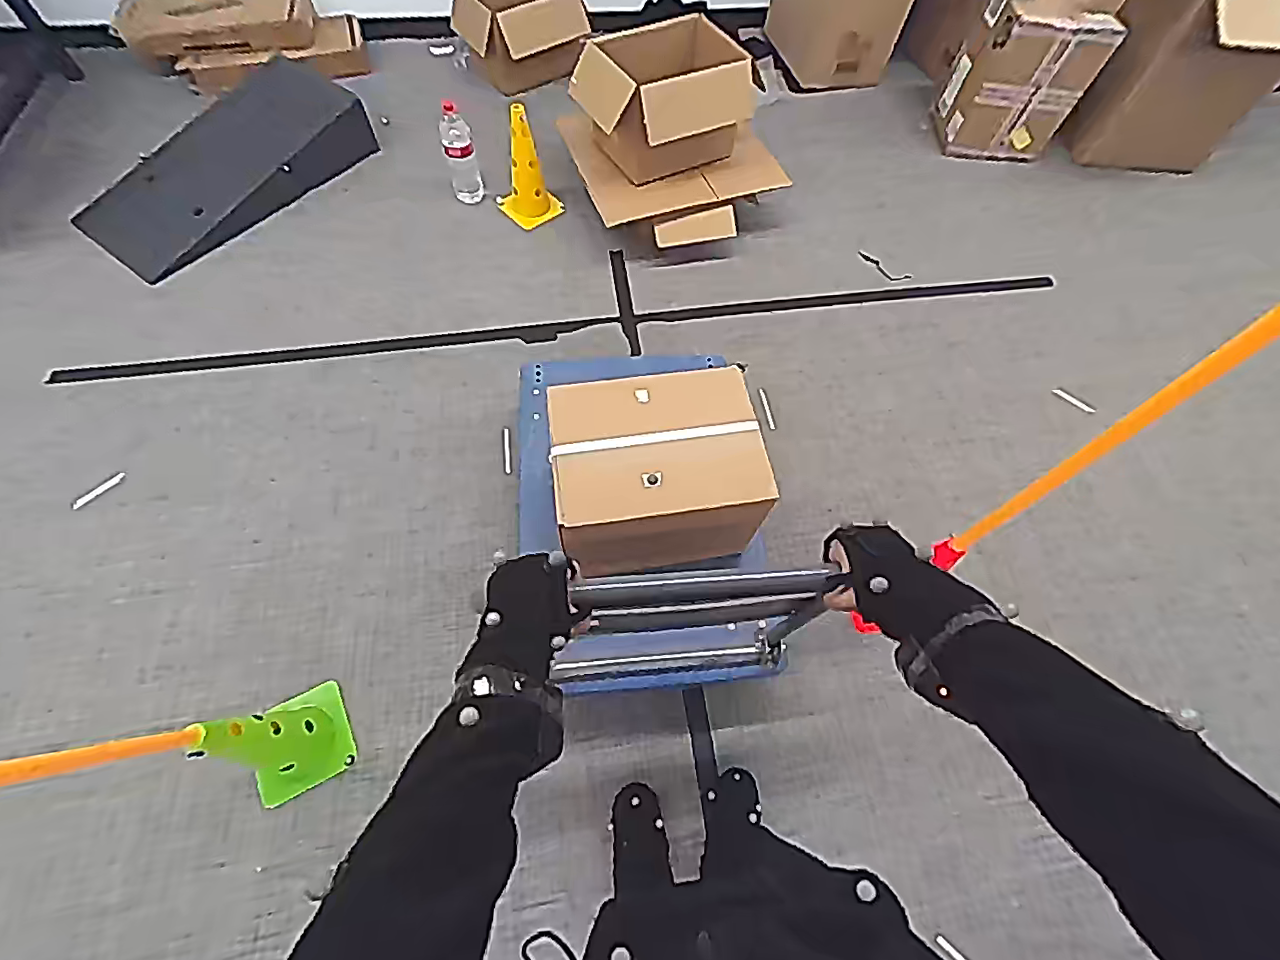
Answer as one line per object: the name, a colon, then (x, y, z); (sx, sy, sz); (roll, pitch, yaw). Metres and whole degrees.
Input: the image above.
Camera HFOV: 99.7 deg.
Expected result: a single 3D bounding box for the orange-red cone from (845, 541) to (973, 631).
orange-red cone: (0.654, 0.218, 1.259); (0.199, 0.360, 0.198); (0, 64, -4)
